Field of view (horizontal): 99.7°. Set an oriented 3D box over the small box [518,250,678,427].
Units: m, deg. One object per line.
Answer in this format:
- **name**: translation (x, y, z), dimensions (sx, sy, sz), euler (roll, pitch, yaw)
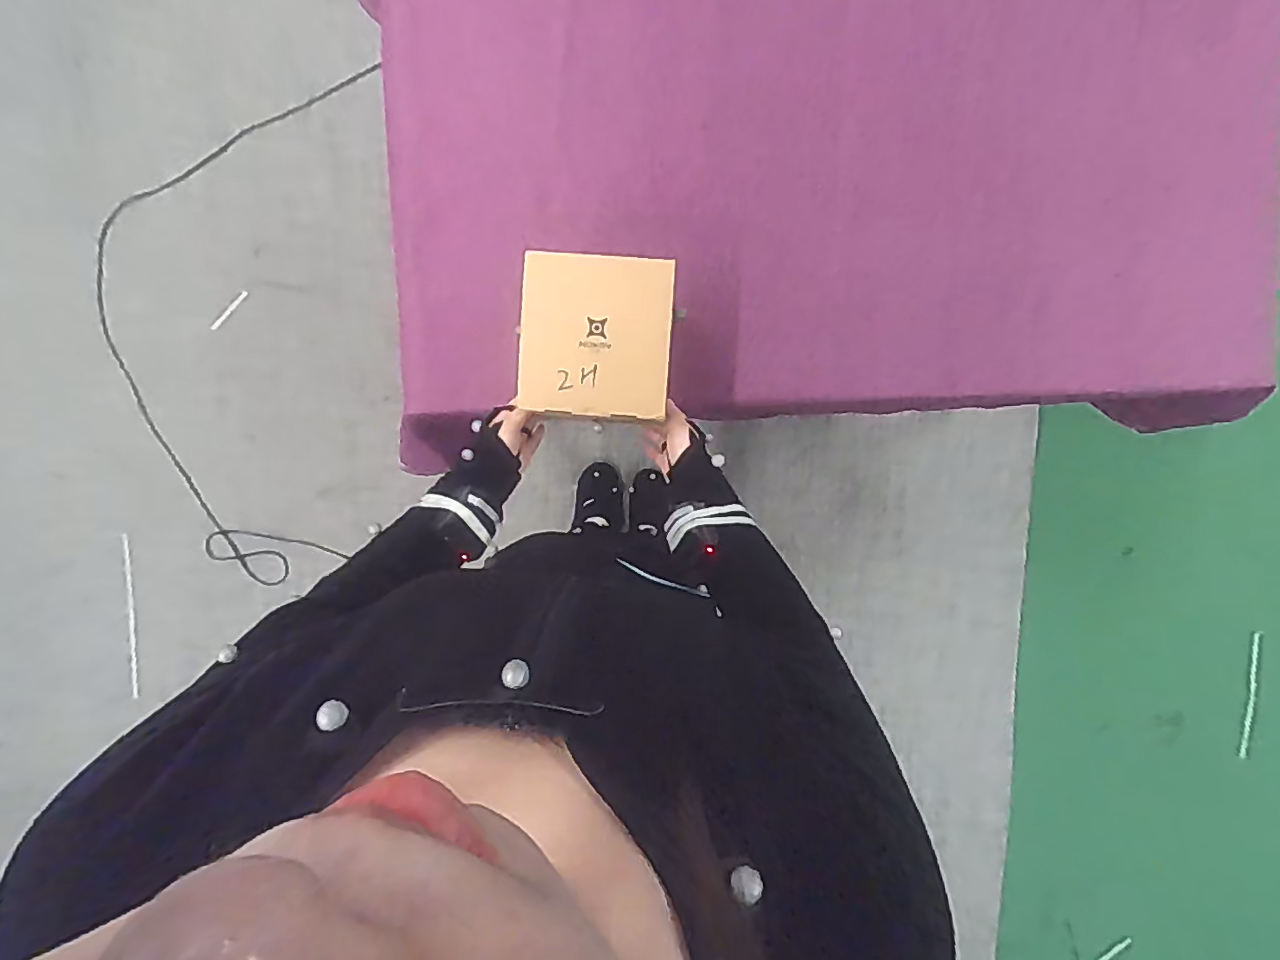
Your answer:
- **small box**: translation (-0.047, -0.161, 0.669), dimensions (0.168, 0.176, 0.179), euler (4, 94, 1)
